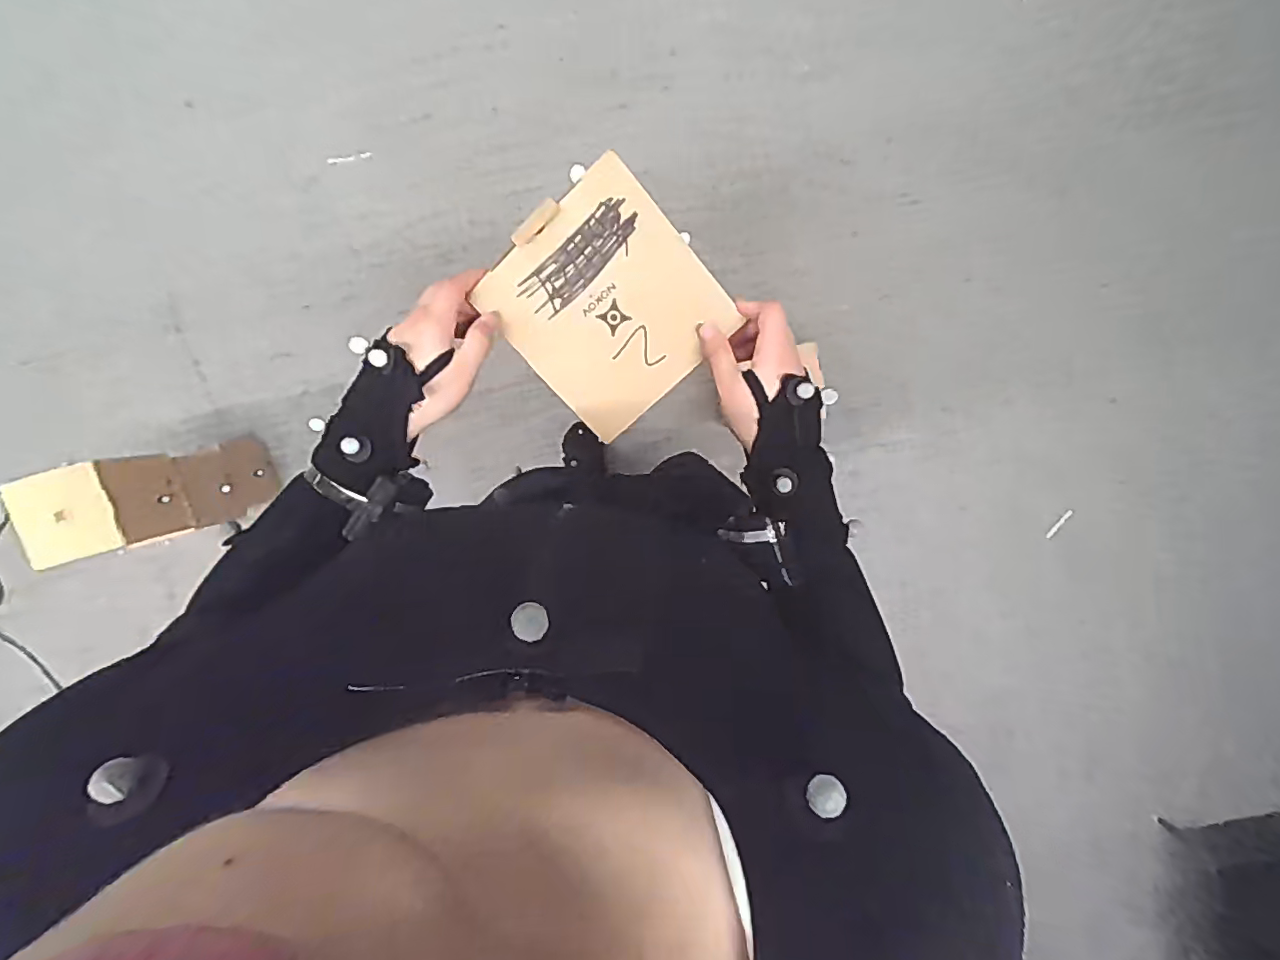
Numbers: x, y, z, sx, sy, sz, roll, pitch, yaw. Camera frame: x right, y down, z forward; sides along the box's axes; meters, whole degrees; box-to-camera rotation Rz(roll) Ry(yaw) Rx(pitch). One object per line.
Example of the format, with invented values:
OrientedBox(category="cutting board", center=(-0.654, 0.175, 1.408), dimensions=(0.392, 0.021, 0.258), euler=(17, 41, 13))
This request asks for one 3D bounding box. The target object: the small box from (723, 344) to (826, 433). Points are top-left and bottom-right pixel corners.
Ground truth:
OrientedBox(category="small box", center=(0.297, -0.202, 1.218), dimensions=(0.179, 0.176, 0.168), euler=(-10, 95, 1))

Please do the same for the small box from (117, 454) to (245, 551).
OrientedBox(category="small box", center=(-1.049, 0.044, 1.214), dimensions=(0.179, 0.176, 0.168), euler=(-15, 97, 0))

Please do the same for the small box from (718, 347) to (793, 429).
OrientedBox(category="small box", center=(0.302, -0.228, 1.379), dimensions=(0.168, 0.176, 0.179), euler=(-10, 96, 0))

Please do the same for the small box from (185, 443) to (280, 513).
OrientedBox(category="small box", center=(-1.060, 0.009, 1.375), dimensions=(0.179, 0.176, 0.168), euler=(-19, 96, 1))

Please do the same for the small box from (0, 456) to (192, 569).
OrientedBox(category="small box", center=(-1.042, 0.056, 1.052), dimensions=(0.179, 0.176, 0.168), euler=(-16, 97, 0))
